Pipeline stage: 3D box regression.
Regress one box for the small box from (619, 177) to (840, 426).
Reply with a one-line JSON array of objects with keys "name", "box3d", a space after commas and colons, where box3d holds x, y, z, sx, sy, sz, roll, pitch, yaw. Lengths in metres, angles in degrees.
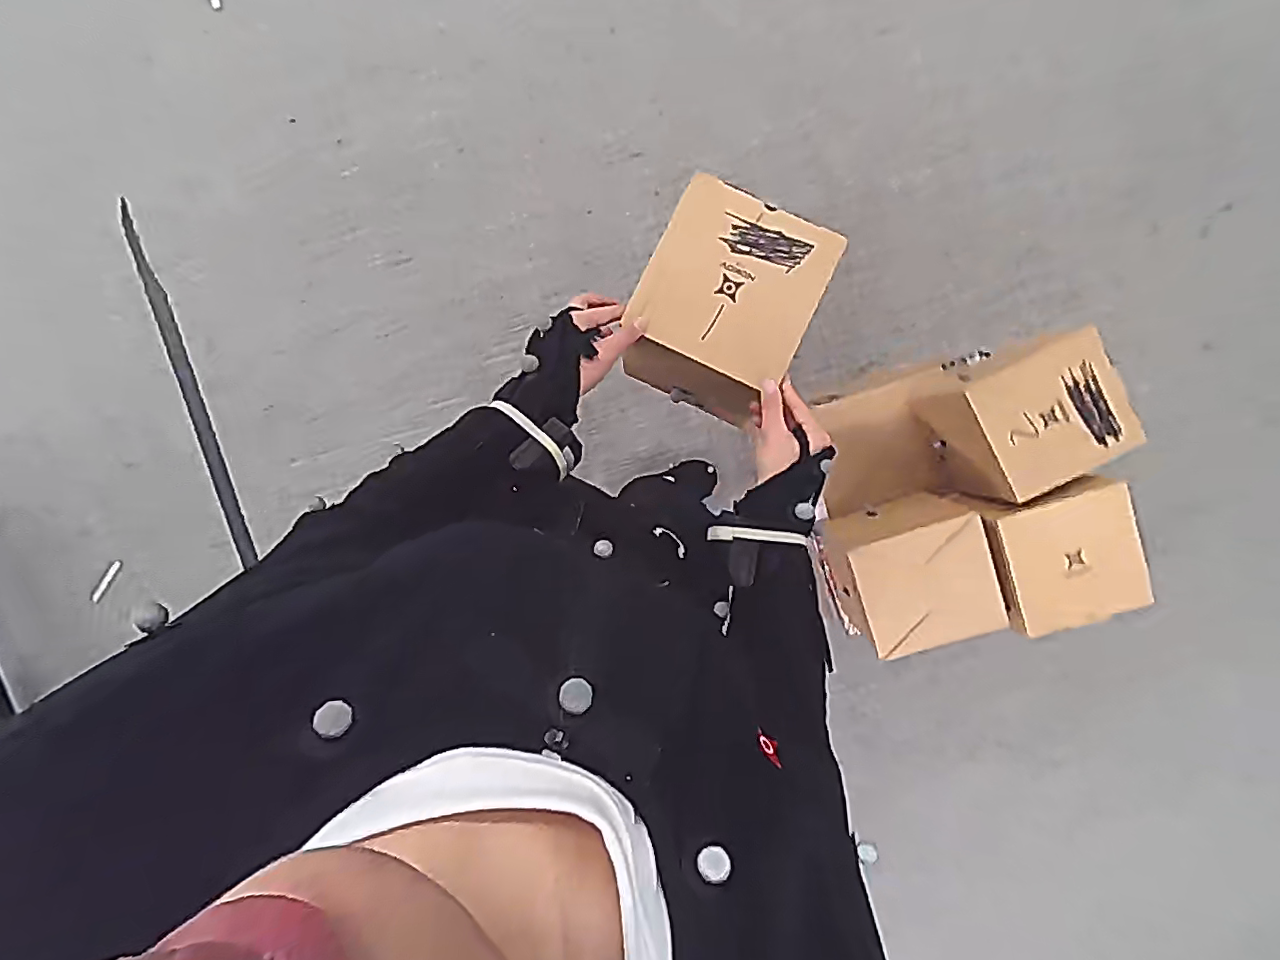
[{"name": "small box", "box3d": [0.087, -0.182, 0.603, 0.168, 0.176, 0.179, 26, 86, 3]}]
